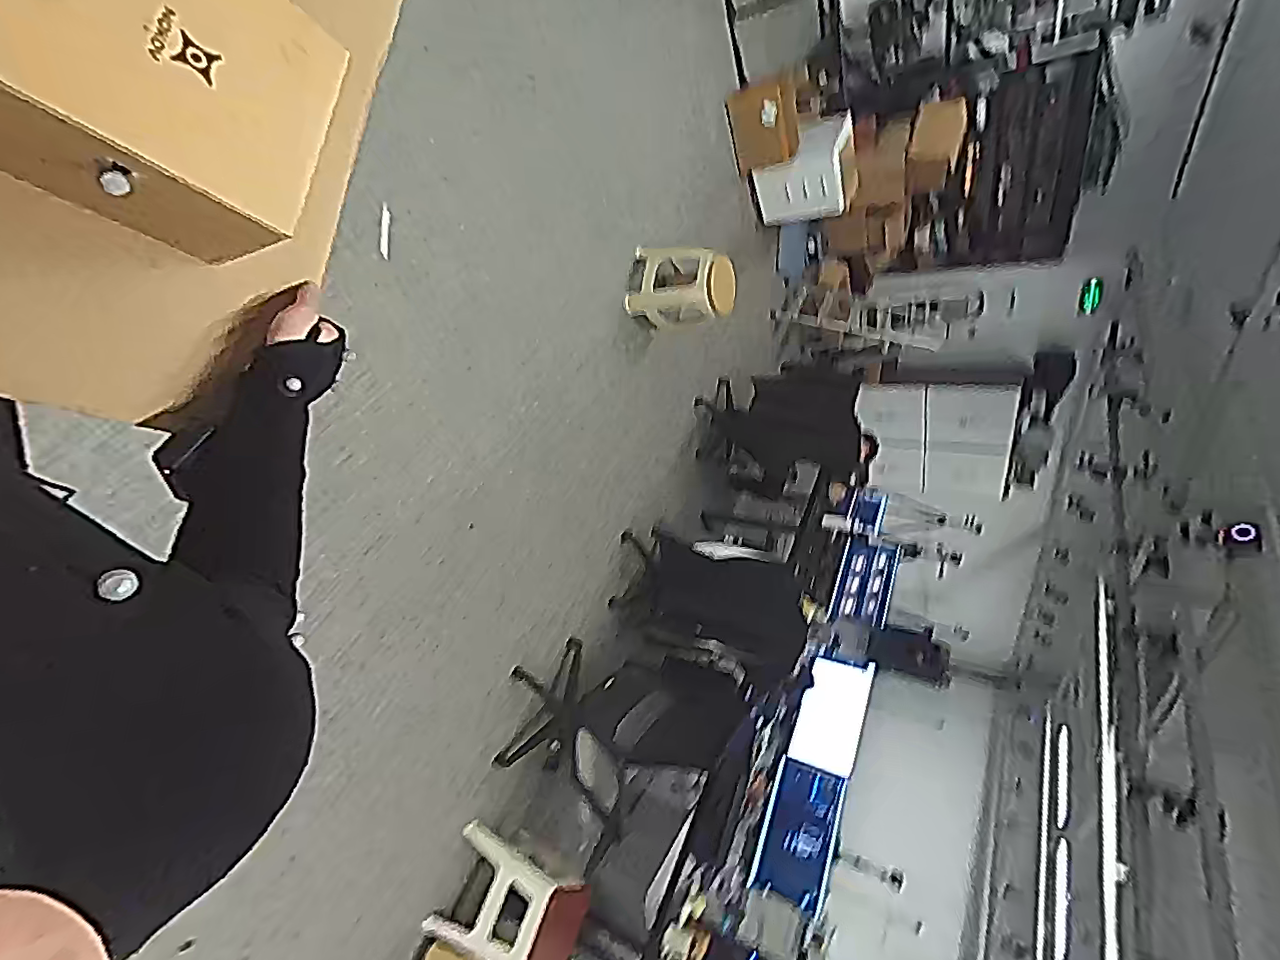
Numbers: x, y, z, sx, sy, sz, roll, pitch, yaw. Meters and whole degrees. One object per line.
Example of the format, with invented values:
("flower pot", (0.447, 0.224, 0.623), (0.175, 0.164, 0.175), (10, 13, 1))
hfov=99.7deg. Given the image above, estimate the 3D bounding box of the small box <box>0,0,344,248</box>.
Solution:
("small box", (-0.373, -0.301, 0.418), (0.179, 0.176, 0.168), (19, 81, -53))
